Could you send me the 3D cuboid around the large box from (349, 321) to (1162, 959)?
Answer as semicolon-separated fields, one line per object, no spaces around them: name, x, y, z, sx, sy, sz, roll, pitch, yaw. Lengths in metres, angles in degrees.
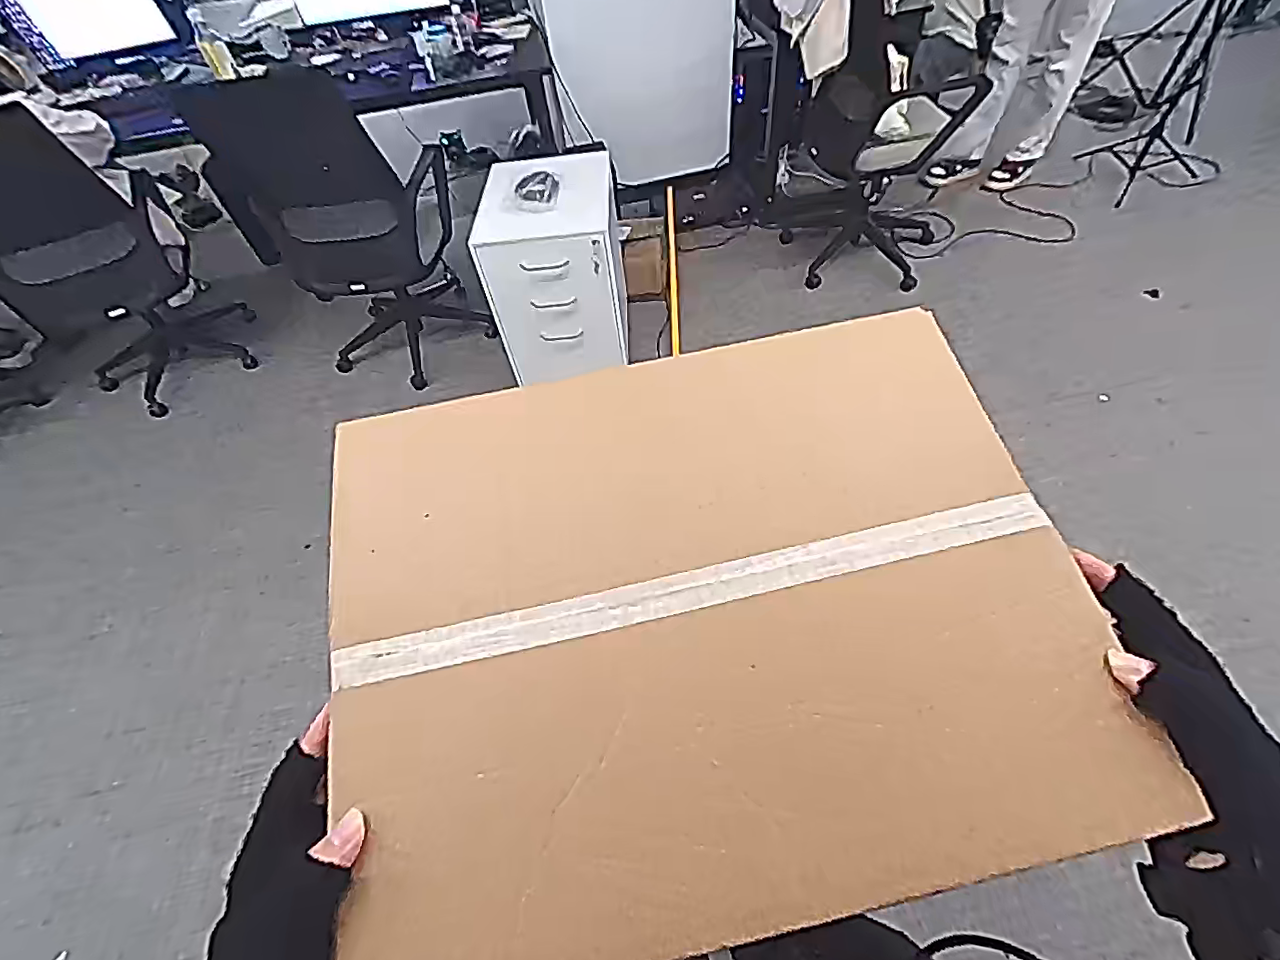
large box;0.041;0.126;0.448;0.408;0.320;0.320;-13;66;-3
